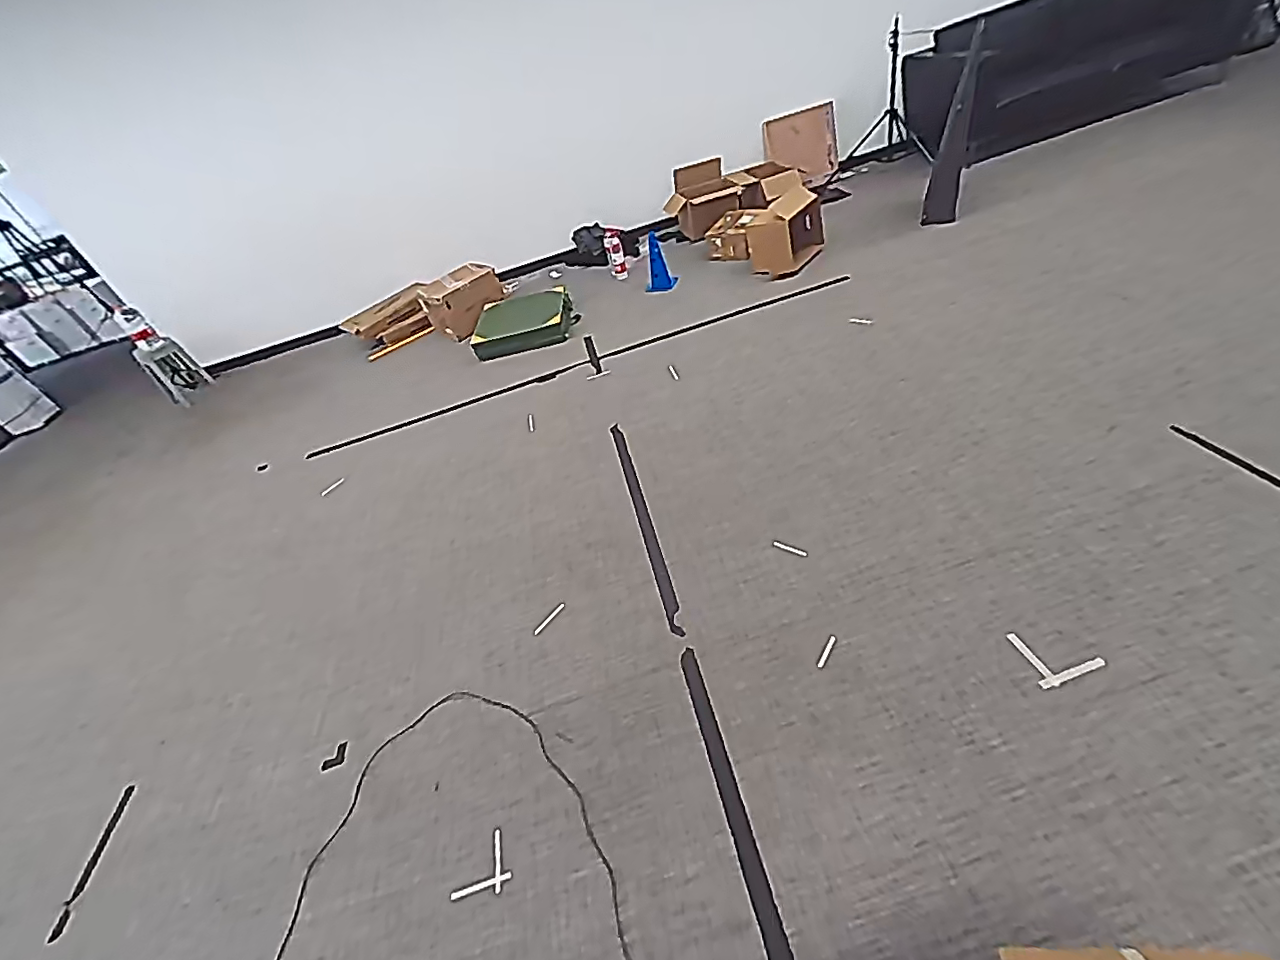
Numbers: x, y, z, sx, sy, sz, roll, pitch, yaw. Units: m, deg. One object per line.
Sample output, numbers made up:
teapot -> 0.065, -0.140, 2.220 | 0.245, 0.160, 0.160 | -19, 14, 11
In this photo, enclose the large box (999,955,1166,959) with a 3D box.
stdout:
large box -> 0.602, 0.741, 0.484 | 0.320, 0.408, 0.320 | -9, 81, 11
